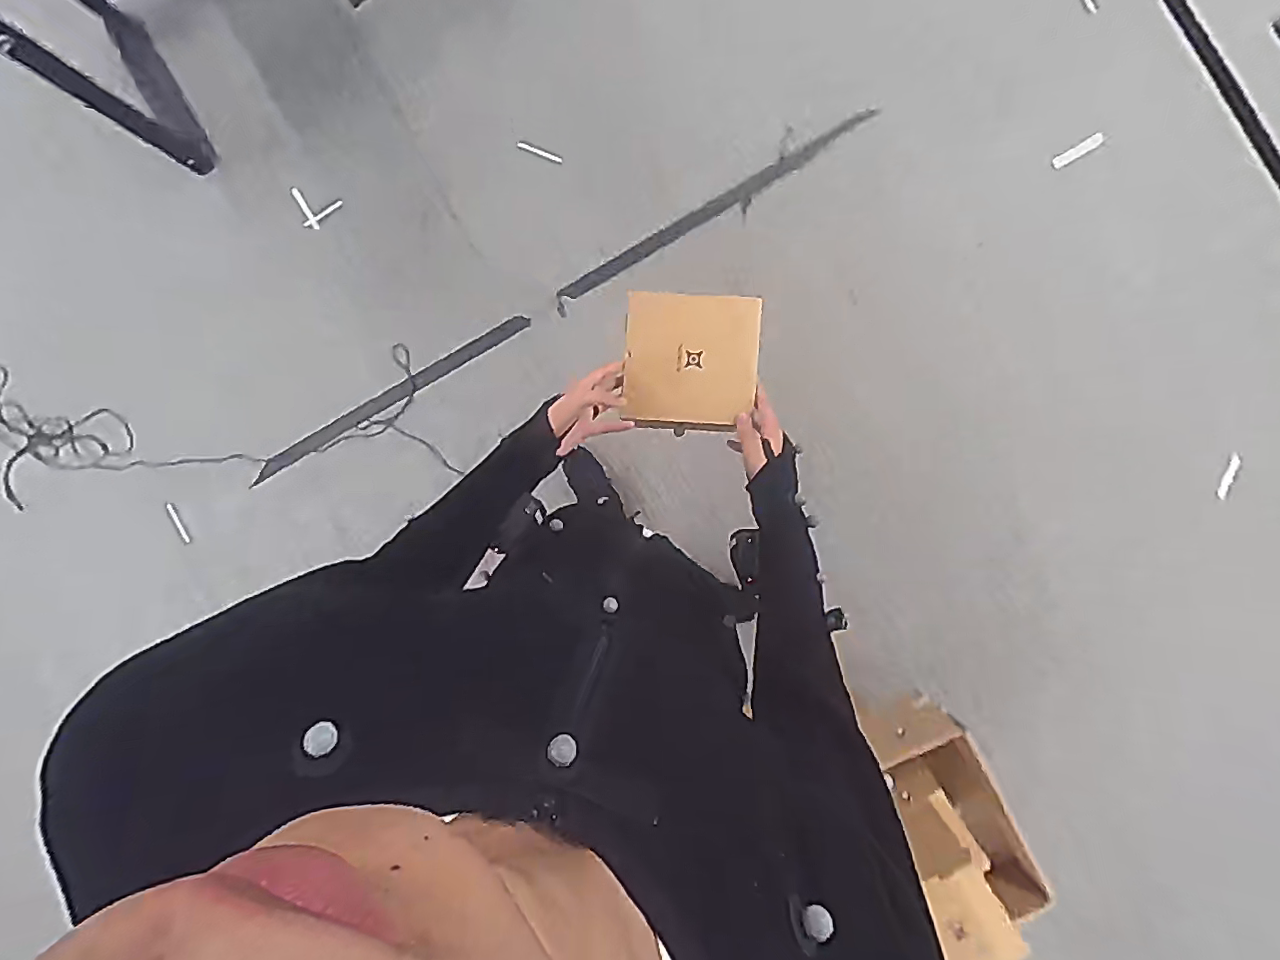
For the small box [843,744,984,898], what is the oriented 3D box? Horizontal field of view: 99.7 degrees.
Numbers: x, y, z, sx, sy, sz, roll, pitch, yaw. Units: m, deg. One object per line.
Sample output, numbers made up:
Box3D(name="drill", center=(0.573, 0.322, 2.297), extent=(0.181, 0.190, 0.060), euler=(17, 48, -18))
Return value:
Box3D(name="small box", center=(0.555, 0.695, 1.122), extent=(0.168, 0.176, 0.179), euler=(-33, 90, 4))
